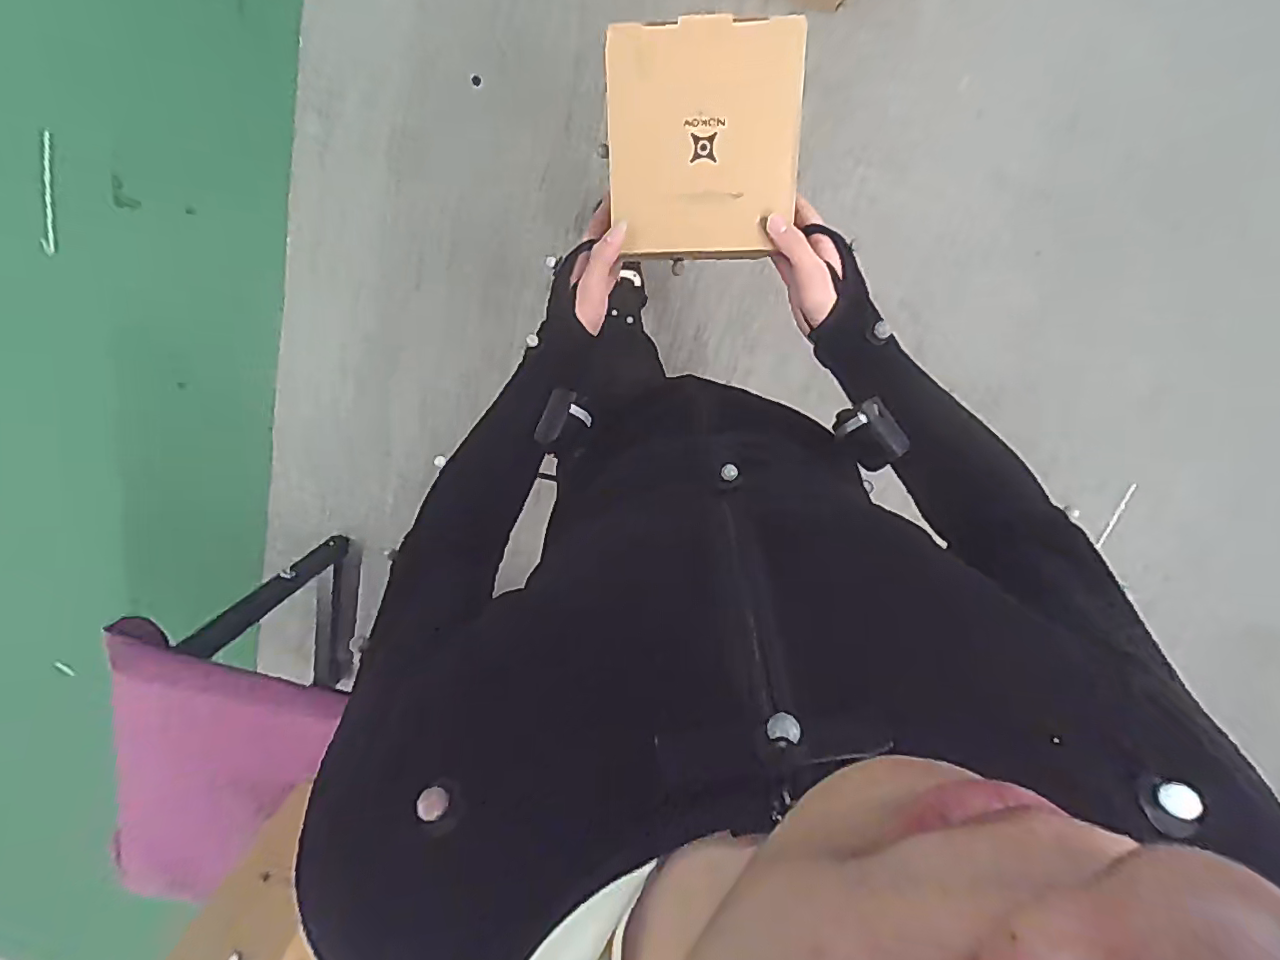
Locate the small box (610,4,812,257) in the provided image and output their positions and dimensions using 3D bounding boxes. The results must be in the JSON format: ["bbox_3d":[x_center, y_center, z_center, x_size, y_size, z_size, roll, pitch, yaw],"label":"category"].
[{"bbox_3d":[0.058,-0.319,0.531,0.168,0.176,0.179,1,110,2],"label":"small box"}]

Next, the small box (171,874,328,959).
[{"bbox_3d":[-0.636,0.796,0.881,0.168,0.176,0.179,11,108,-2],"label":"small box"}]
